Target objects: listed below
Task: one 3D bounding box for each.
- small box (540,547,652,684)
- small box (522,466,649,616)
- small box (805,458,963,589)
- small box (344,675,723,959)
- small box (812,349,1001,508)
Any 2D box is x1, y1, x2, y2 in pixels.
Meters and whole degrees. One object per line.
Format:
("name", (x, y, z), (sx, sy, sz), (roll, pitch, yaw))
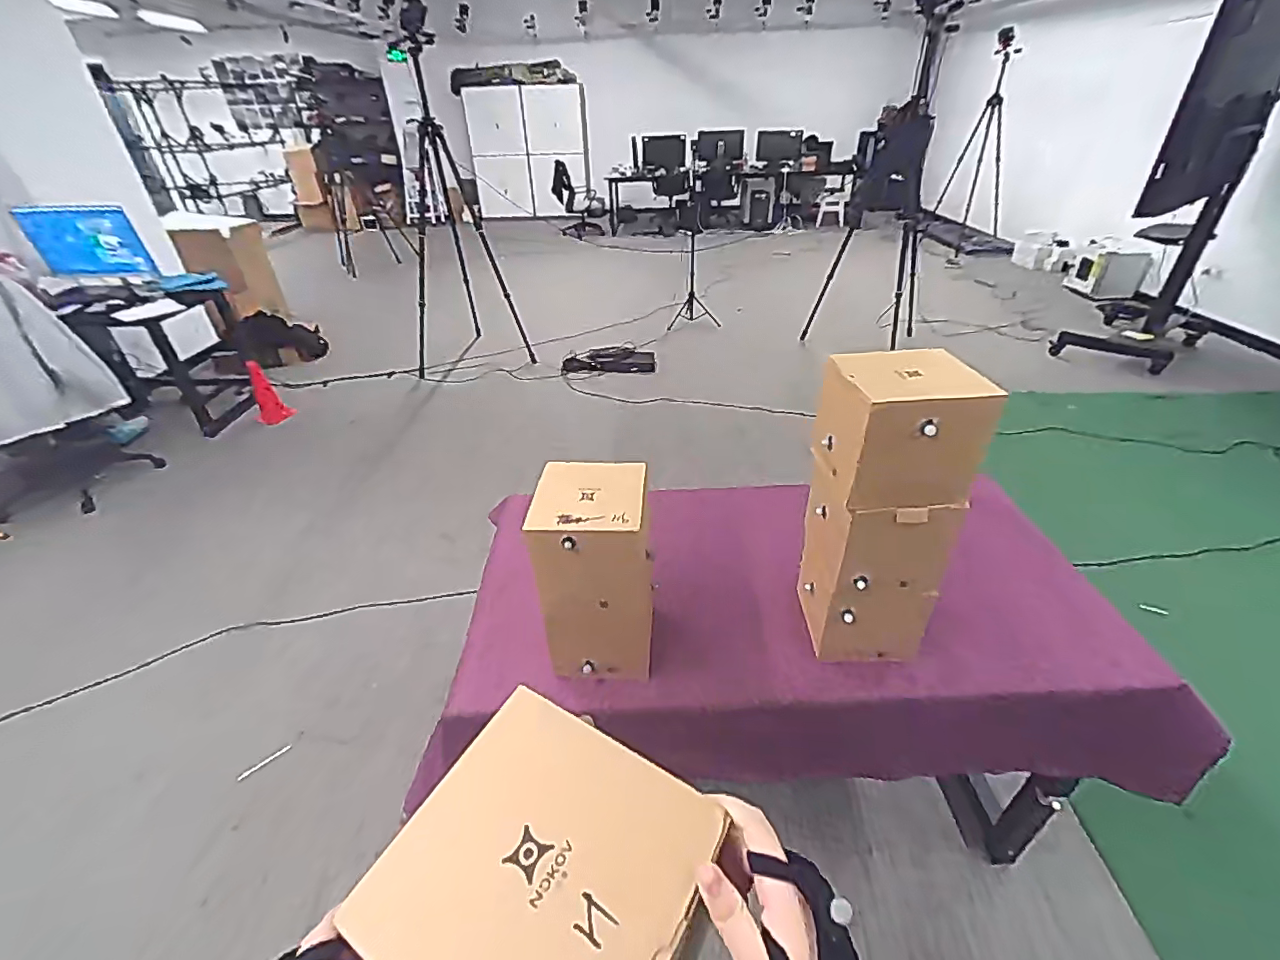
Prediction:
("small box", (-0.066, 0.229, 0.949), (0.168, 0.176, 0.179), (0, 35, 5))
("small box", (-0.074, 0.092, 0.856), (0.168, 0.176, 0.179), (-1, 33, 5))
("small box", (0.375, 0.062, 0.868), (0.168, 0.176, 0.179), (-3, 33, 0))
("small box", (-0.054, 0.279, 0.379), (0.179, 0.176, 0.168), (16, 47, 27))
("small box", (0.364, -0.074, 0.779), (0.179, 0.176, 0.168), (-5, 34, -1))
